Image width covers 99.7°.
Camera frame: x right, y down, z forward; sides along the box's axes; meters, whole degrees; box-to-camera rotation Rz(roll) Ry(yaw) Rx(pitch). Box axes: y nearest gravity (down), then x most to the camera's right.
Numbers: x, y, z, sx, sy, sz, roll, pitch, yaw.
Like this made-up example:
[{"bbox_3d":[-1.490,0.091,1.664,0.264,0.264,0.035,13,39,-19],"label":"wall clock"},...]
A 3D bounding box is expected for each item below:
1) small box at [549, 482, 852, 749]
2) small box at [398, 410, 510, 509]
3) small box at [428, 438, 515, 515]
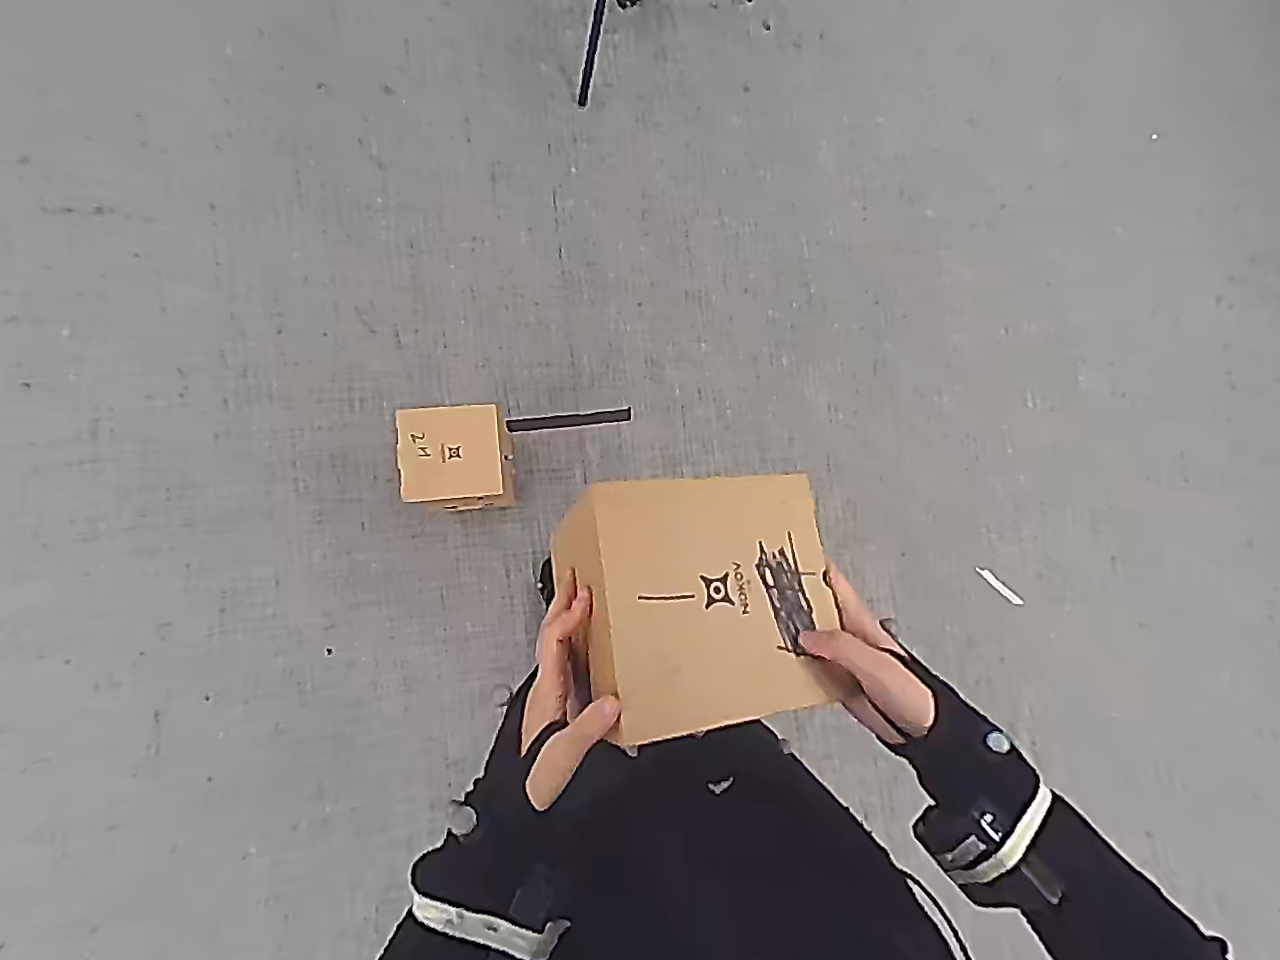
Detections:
[{"bbox_3d":[0.032,0.104,0.441,0.179,0.176,0.168,-2,72,-20],"label":"small box"},{"bbox_3d":[-0.345,-0.034,1.034,0.179,0.176,0.168,-5,85,-9],"label":"small box"},{"bbox_3d":[-0.371,-0.018,1.197,0.168,0.176,0.179,-5,87,-9],"label":"small box"}]
